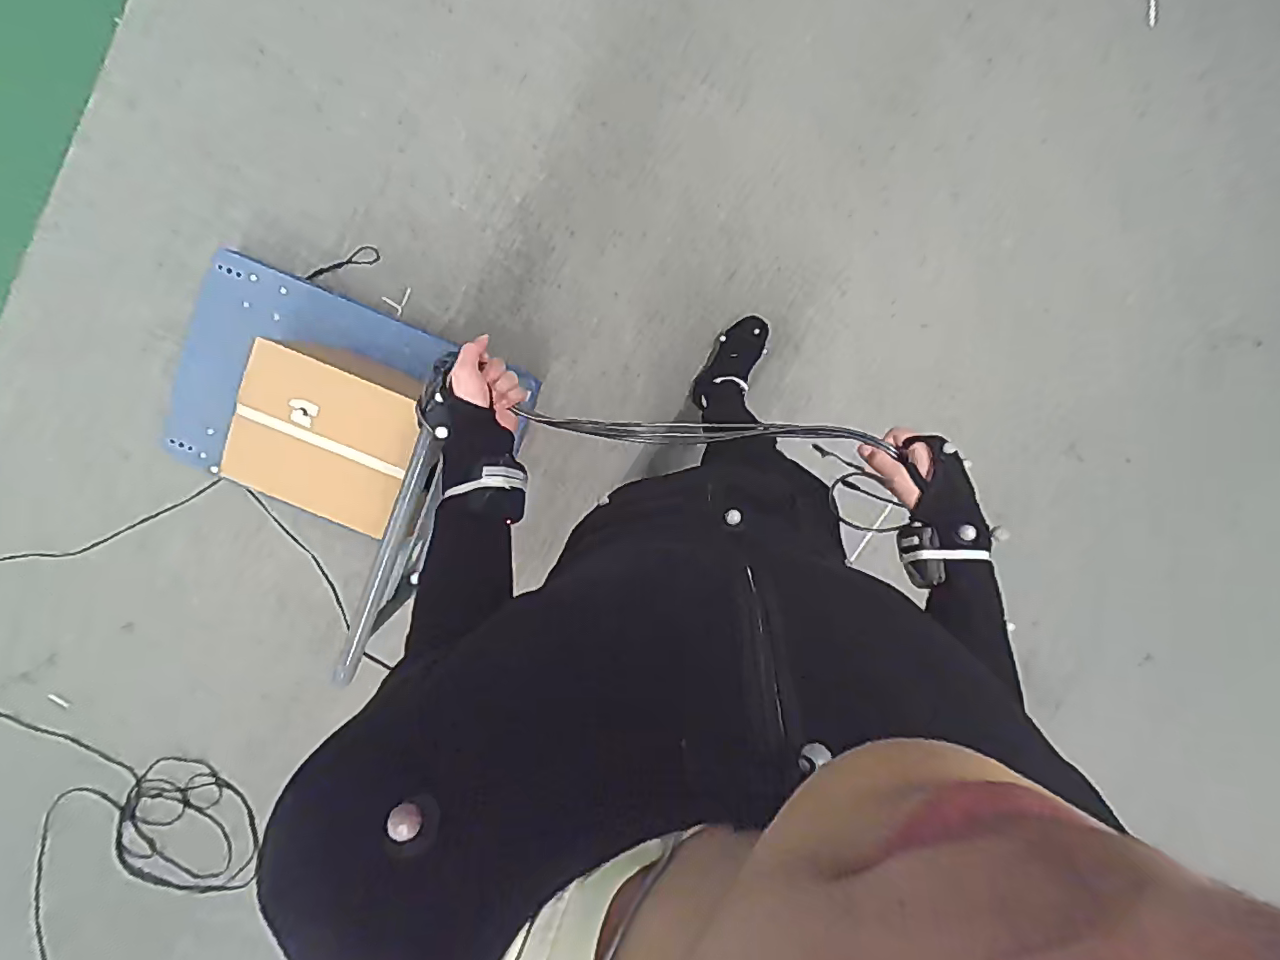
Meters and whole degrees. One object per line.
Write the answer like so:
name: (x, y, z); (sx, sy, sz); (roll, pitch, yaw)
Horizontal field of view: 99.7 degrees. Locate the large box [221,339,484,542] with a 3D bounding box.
large box: (-0.639, -0.100, 1.266); (0.408, 0.320, 0.320); (23, 98, -2)
